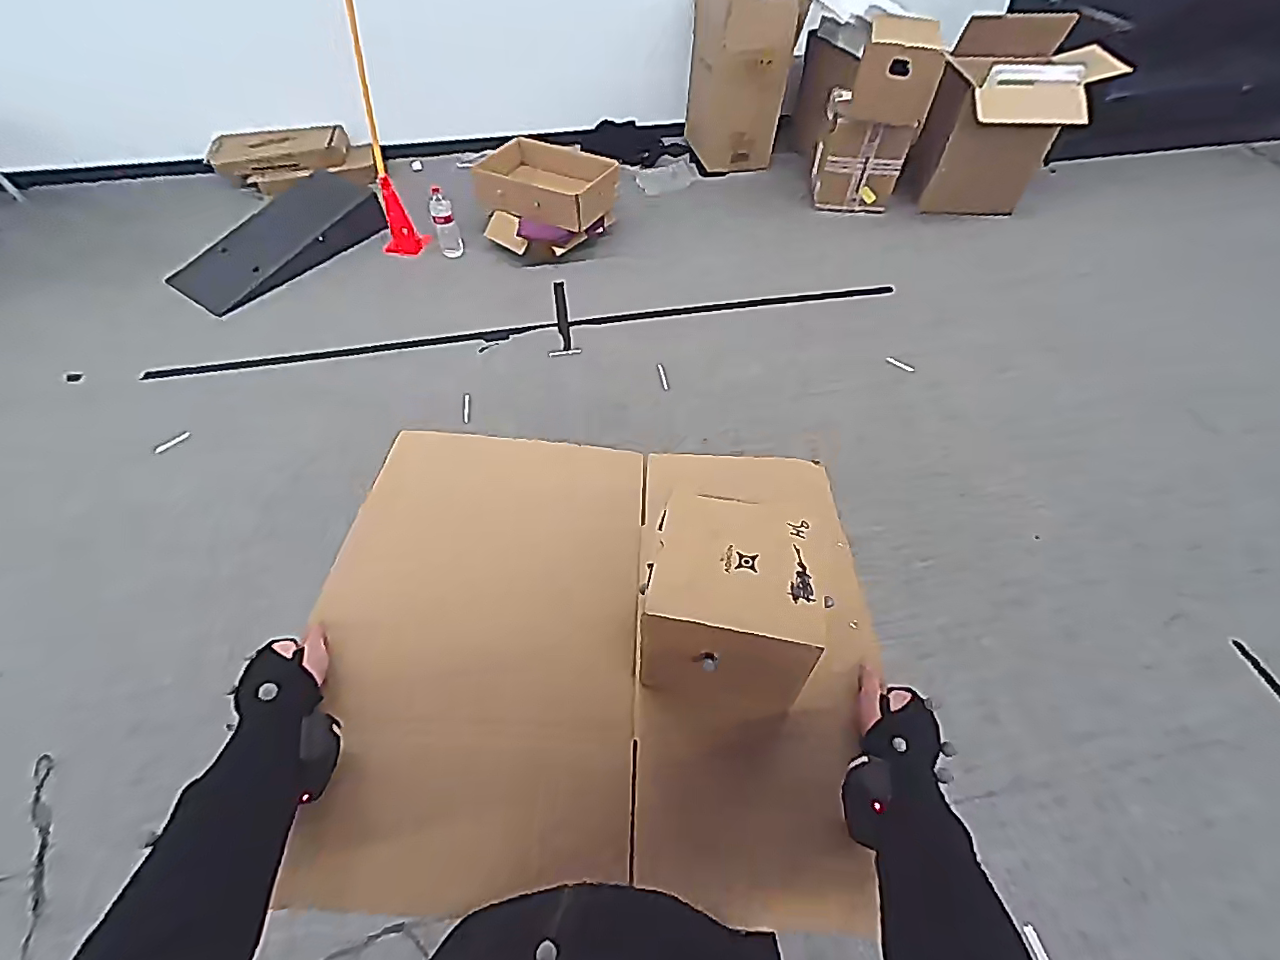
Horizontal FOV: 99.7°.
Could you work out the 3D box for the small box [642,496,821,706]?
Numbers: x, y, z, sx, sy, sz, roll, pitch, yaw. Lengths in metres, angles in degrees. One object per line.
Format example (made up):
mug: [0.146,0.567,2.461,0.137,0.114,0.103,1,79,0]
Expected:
small box: [0.103,0.143,0.630,0.179,0.176,0.168,8,48,8]
